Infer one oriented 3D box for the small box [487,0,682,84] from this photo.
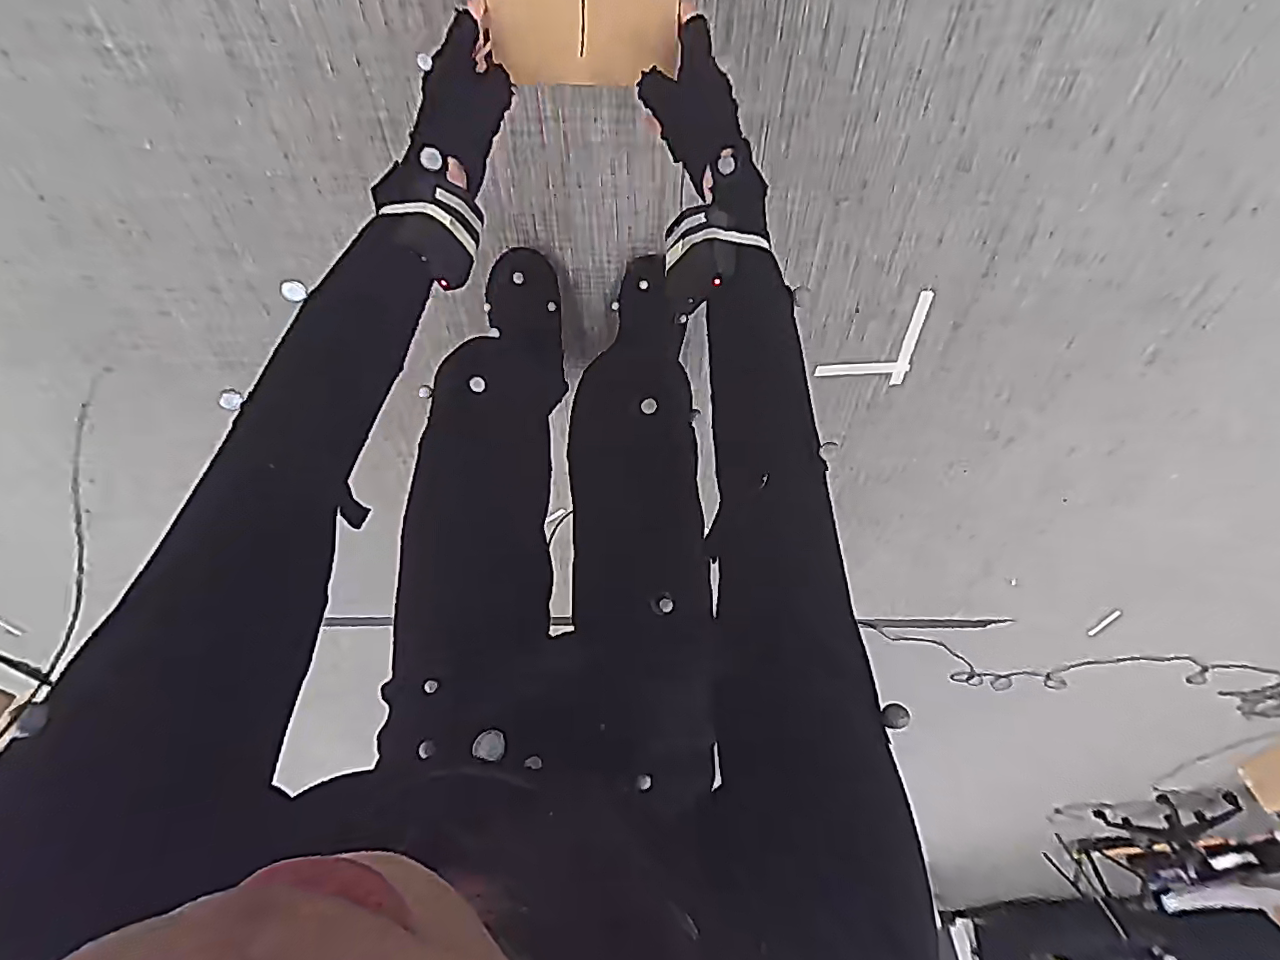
[{"bbox_3d":[-0.046,-0.477,0.489,0.168,0.176,0.179,1,133,0],"label":"small box"}]
